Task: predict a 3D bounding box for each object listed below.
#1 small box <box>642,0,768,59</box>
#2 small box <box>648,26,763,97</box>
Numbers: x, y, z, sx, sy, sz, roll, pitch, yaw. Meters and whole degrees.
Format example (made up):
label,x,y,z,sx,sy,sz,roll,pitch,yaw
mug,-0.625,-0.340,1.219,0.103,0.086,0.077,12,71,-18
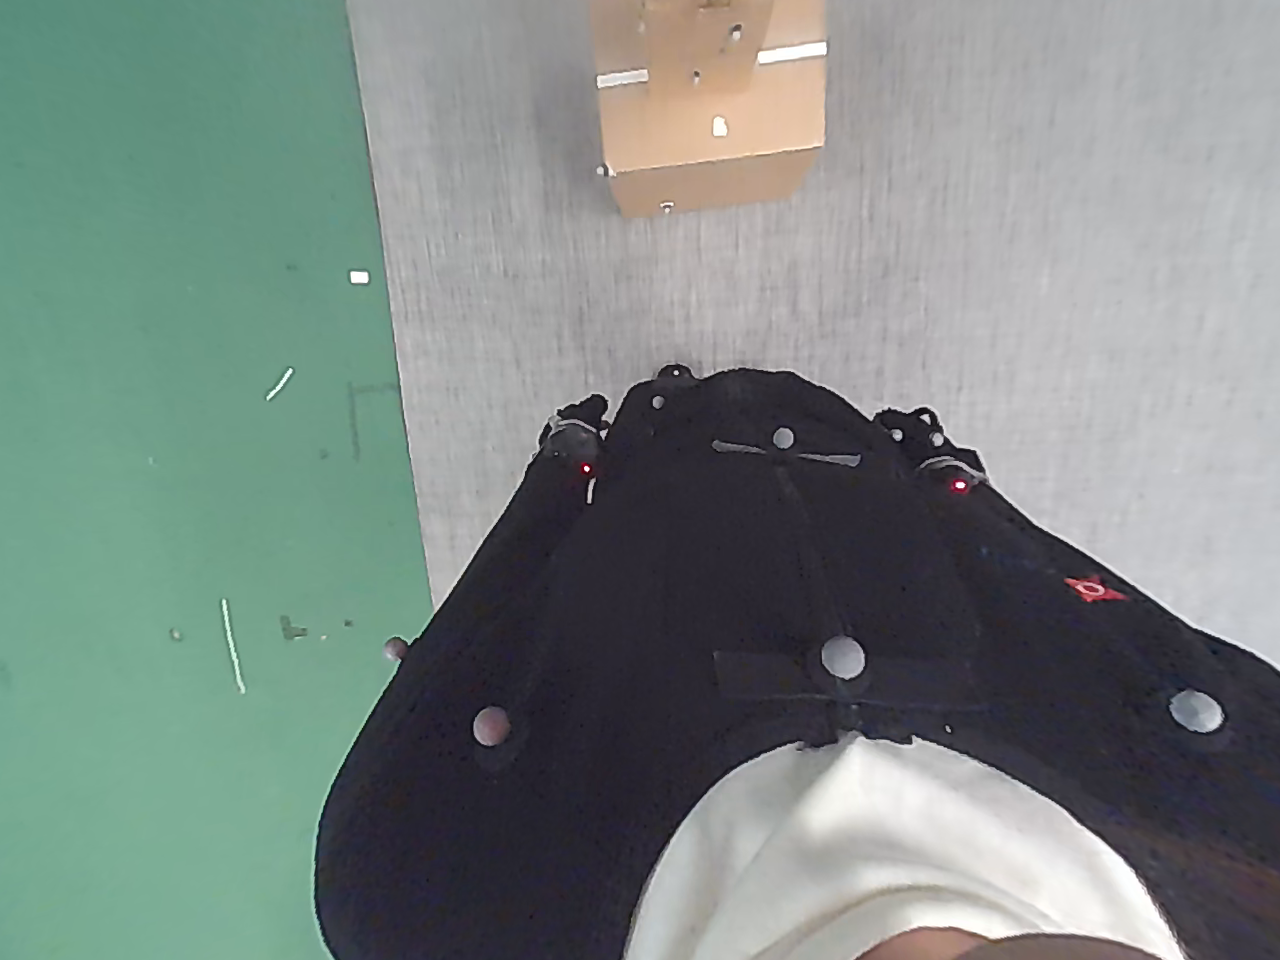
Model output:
label,x,y,z,sx,sy,sz,roll,pitch,yaw
small box,0.084,-0.700,0.724,0.168,0.176,0.179,-4,107,5
small box,0.098,-0.751,0.877,0.179,0.176,0.168,-4,108,5
